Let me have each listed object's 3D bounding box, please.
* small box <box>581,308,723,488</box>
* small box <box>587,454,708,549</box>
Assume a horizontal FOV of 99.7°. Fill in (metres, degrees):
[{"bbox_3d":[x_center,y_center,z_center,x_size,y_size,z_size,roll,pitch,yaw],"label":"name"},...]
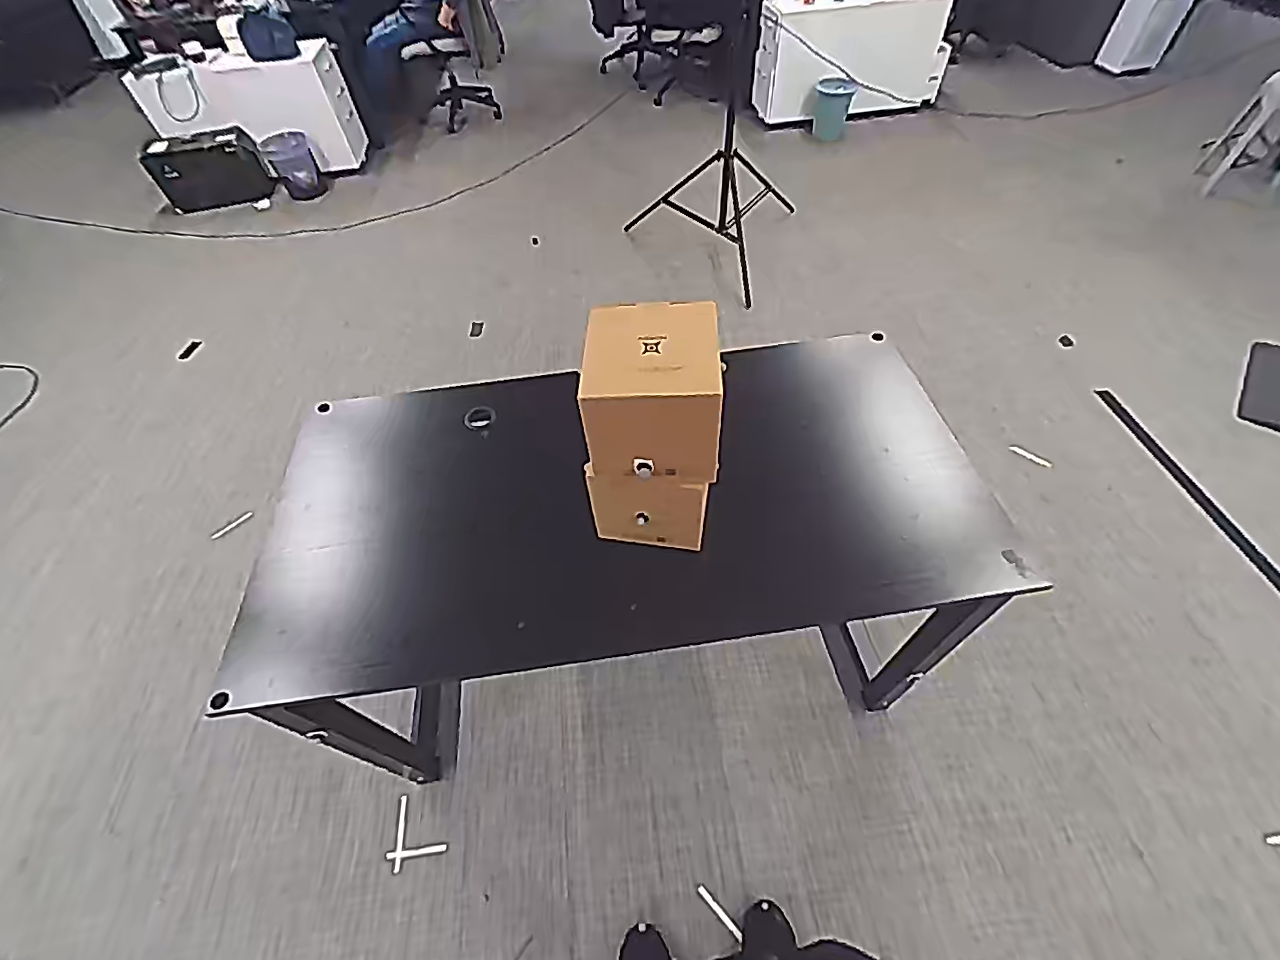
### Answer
[{"bbox_3d":[0.020,-0.107,0.728,0.168,0.176,0.179,-2,53,4],"label":"small box"},{"bbox_3d":[0.024,-0.009,0.858,0.168,0.176,0.179,7,53,9],"label":"small box"}]
